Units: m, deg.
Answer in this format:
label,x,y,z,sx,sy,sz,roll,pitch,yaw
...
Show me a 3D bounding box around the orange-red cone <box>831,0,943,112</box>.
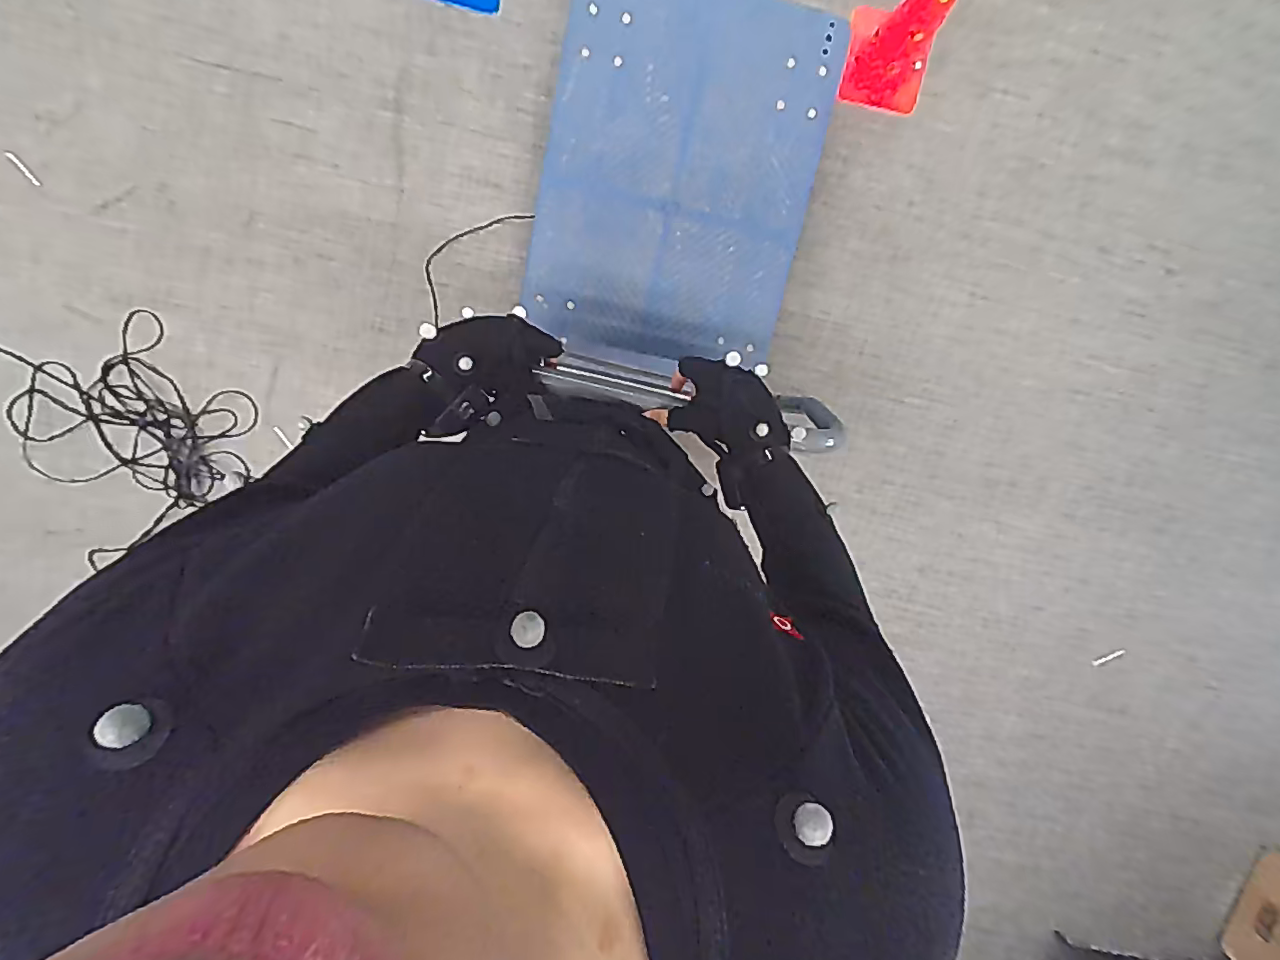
label,x,y,z,sx,sy,sz,roll,pitch,yaw
orange-red cone,0.571,-0.970,1.125,0.199,0.360,0.198,13,101,-2
